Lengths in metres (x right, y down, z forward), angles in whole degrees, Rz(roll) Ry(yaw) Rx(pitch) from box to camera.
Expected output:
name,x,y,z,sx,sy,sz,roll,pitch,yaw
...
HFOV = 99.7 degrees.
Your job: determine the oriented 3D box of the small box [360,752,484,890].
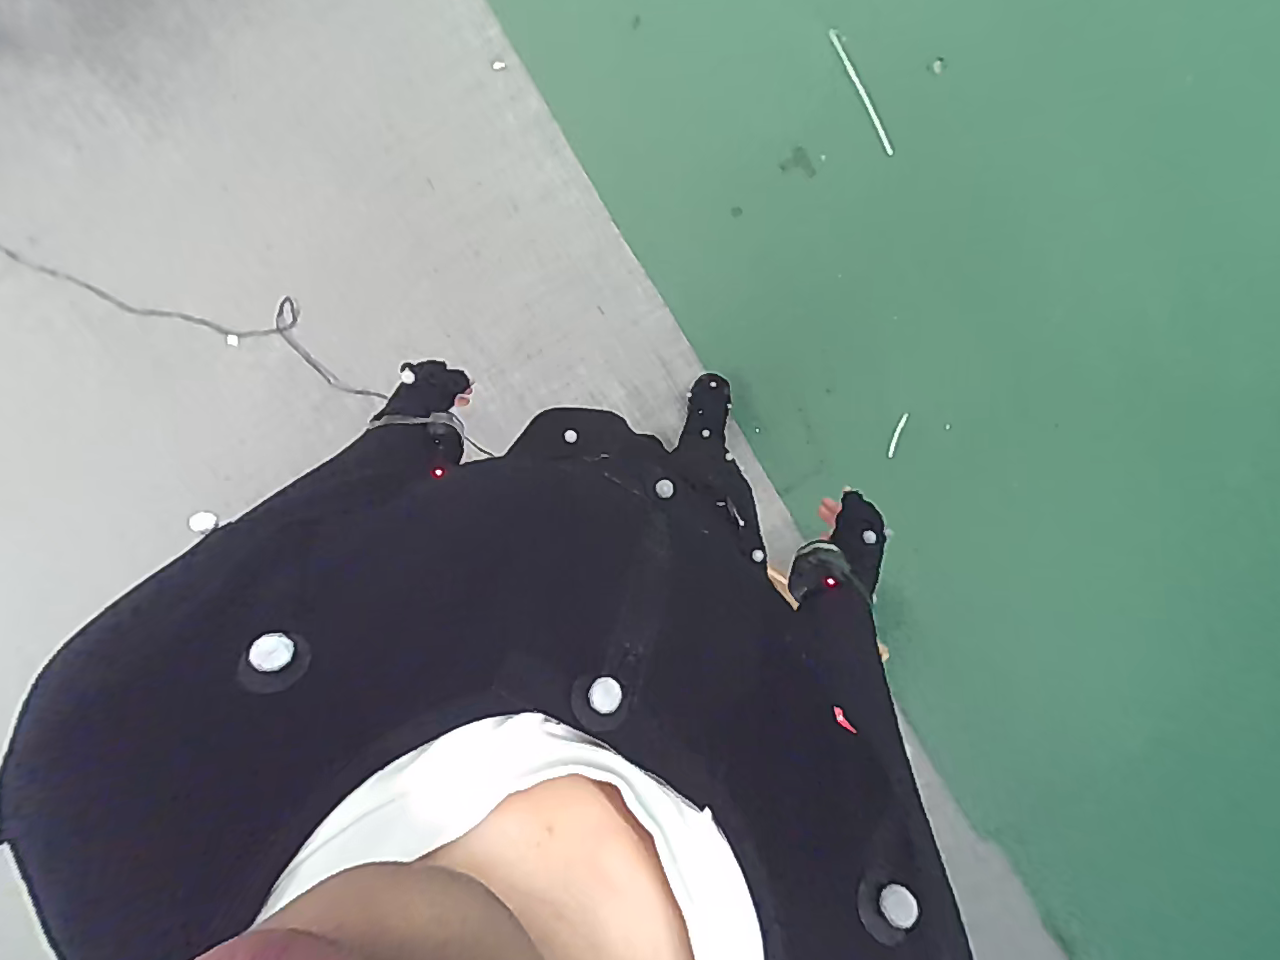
name,x,y,z,sx,sy,sz,roll,pitch,yaw
small box,-0.467,0.742,1.196,0.179,0.176,0.168,-24,96,5
